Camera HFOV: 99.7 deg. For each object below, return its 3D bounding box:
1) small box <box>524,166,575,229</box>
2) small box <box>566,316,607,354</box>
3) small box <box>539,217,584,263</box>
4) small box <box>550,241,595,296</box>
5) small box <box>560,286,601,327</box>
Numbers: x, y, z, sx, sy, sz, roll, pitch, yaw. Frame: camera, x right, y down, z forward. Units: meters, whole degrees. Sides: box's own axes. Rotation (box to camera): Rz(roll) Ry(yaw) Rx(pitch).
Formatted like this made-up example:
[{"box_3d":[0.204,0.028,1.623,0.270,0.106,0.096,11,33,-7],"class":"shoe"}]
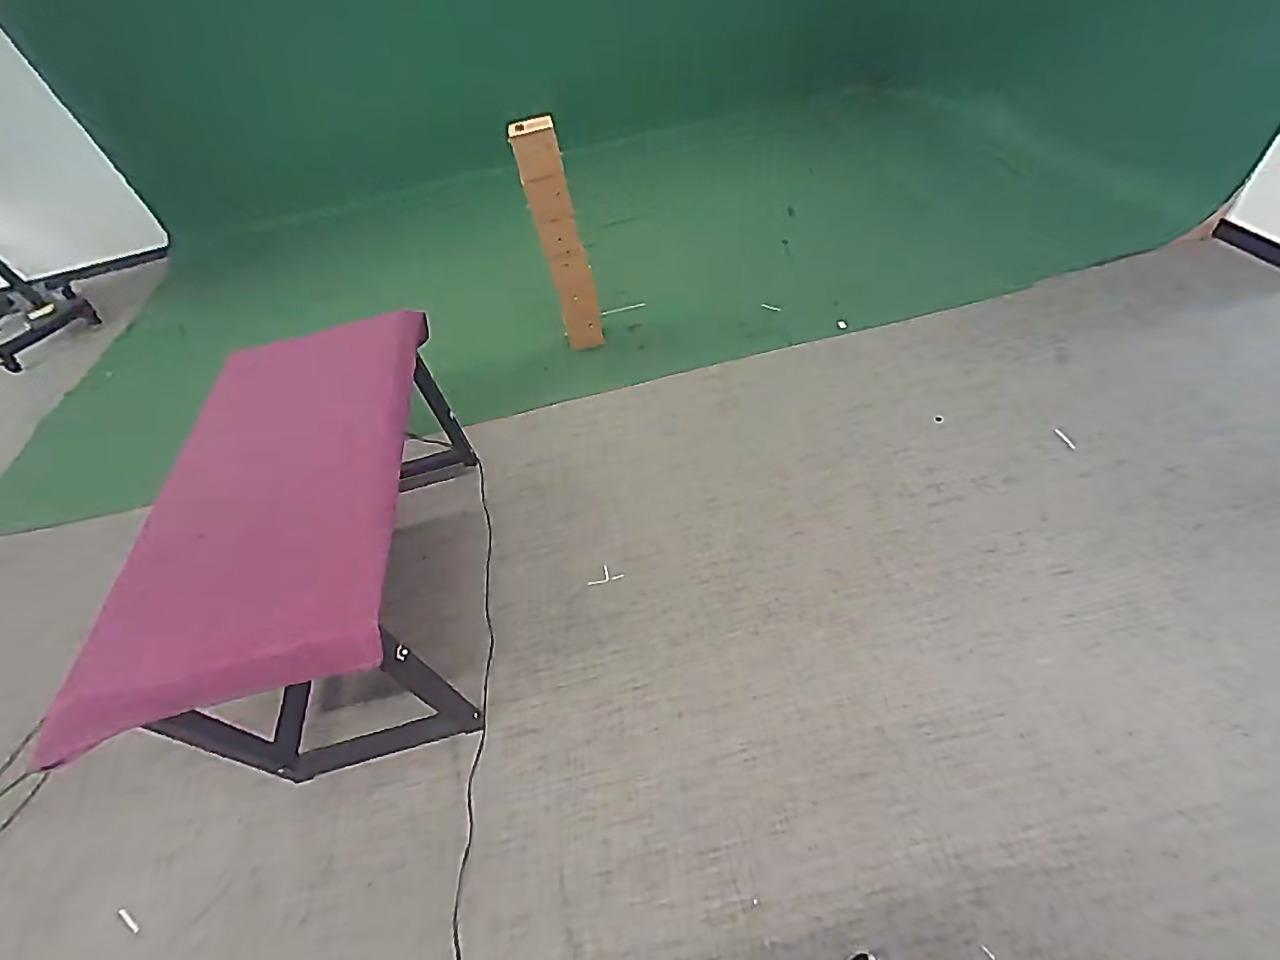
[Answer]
[{"box_3d":[-0.381,-1.203,2.304,0.179,0.176,0.168,-16,48,-1],"class":"small box"},{"box_3d":[-0.275,-0.779,2.788,0.179,0.176,0.168,-14,49,0],"class":"small box"},{"box_3d":[-0.357,-1.096,2.425,0.168,0.176,0.179,-16,50,-1],"class":"small box"},{"box_3d":[-0.323,-0.993,2.547,0.179,0.176,0.168,-17,49,-3],"class":"small box"},{"box_3d":[-0.294,-0.887,2.669,0.179,0.176,0.168,-16,49,-1],"class":"small box"}]
